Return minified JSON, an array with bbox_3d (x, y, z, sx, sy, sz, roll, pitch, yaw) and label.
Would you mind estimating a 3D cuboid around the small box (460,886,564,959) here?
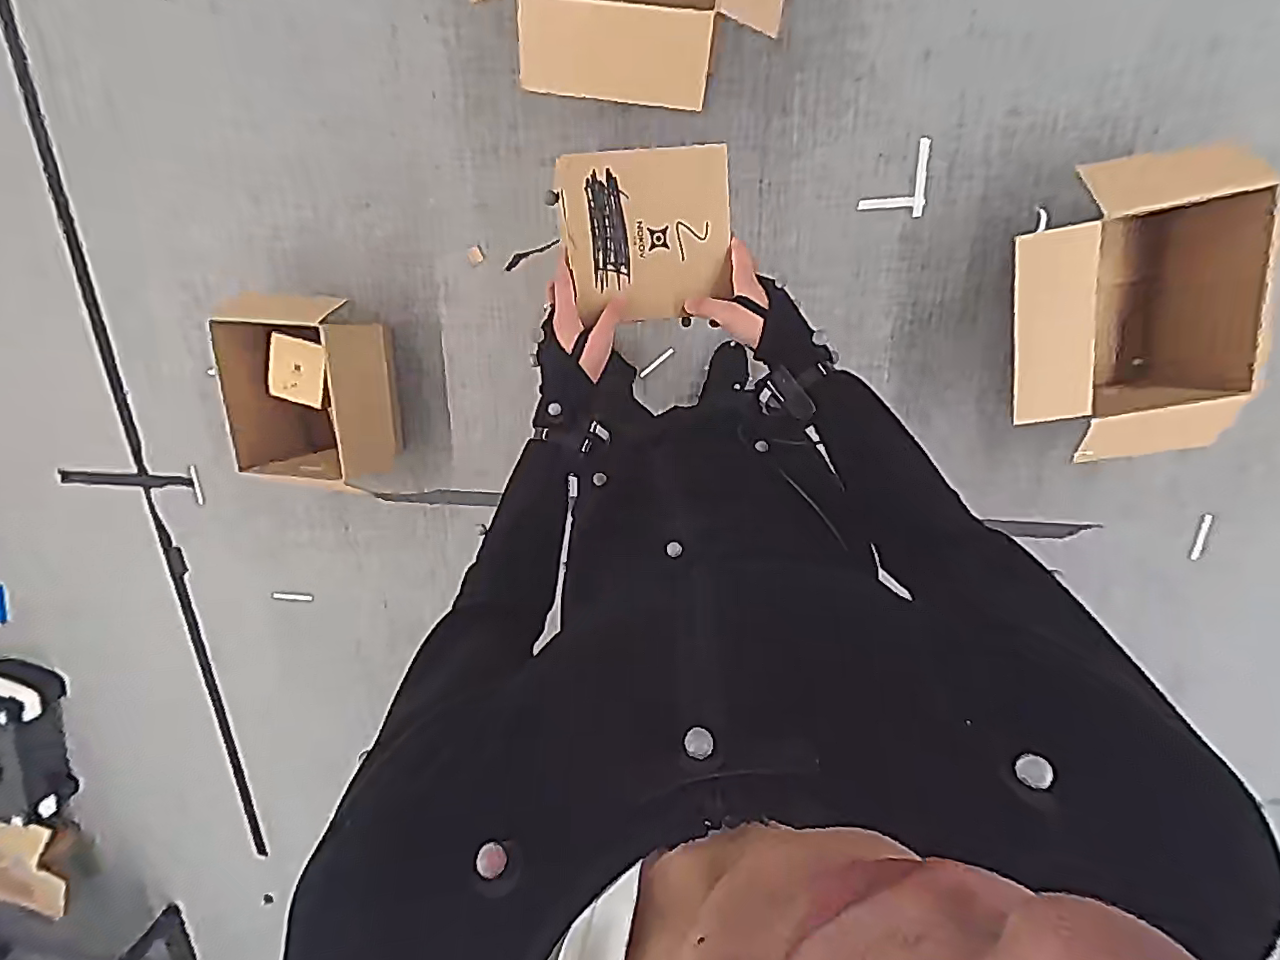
[{"bbox_3d":[-0.271,1.024,1.171,0.179,0.176,0.168,3,109,5],"label":"small box"}]
